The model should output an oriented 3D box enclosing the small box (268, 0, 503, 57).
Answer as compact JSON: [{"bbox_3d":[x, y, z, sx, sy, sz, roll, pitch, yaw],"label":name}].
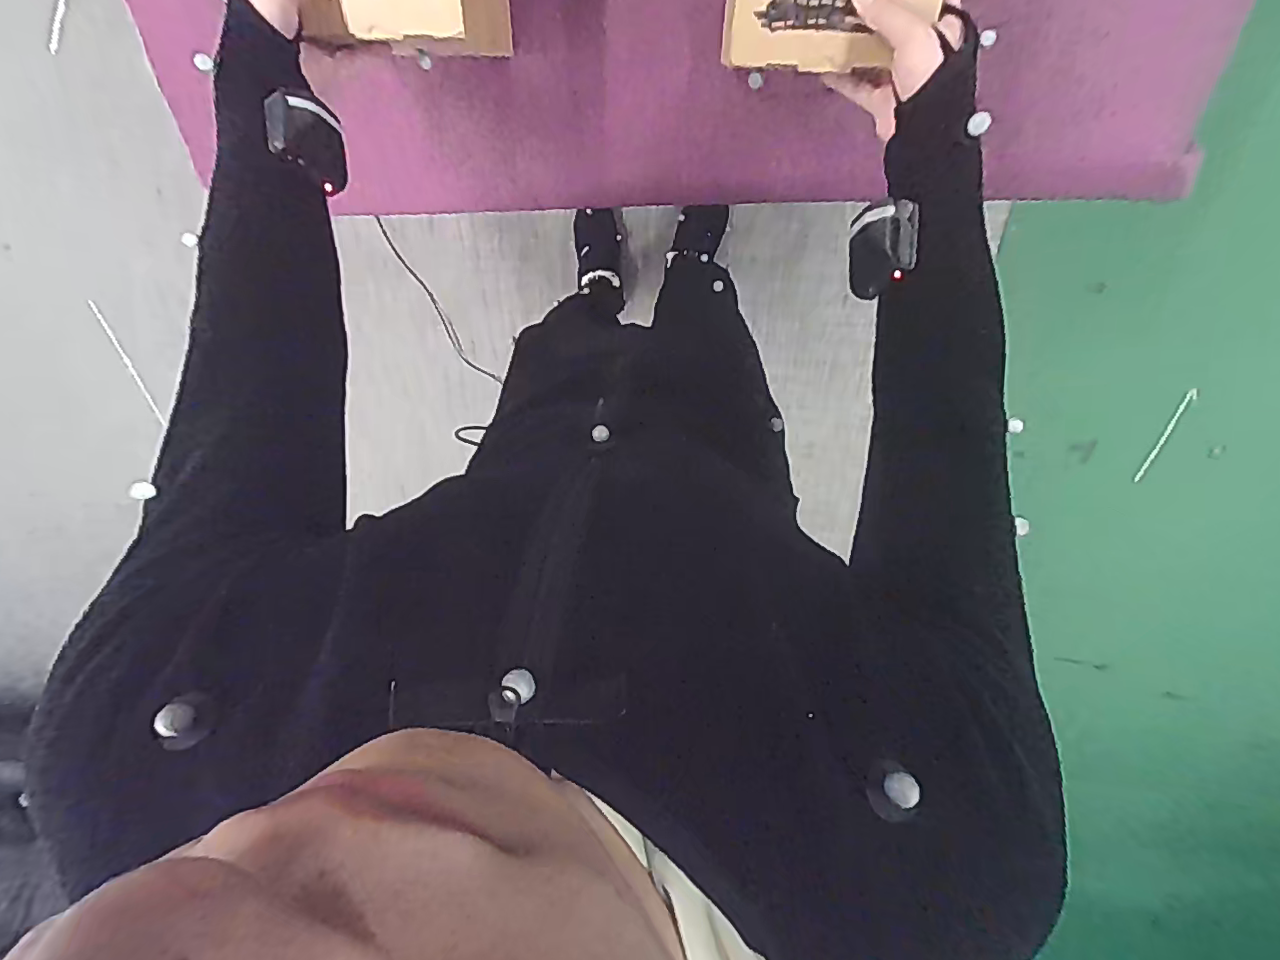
[{"bbox_3d":[-0.232,-0.510,0.494,0.168,0.176,0.179,4,124,1],"label":"small box"}]

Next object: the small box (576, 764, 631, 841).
[{"bbox_3d":[-0.125,1.108,1.865,0.168,0.176,0.179,8,125,0],"label":"small box"}]
